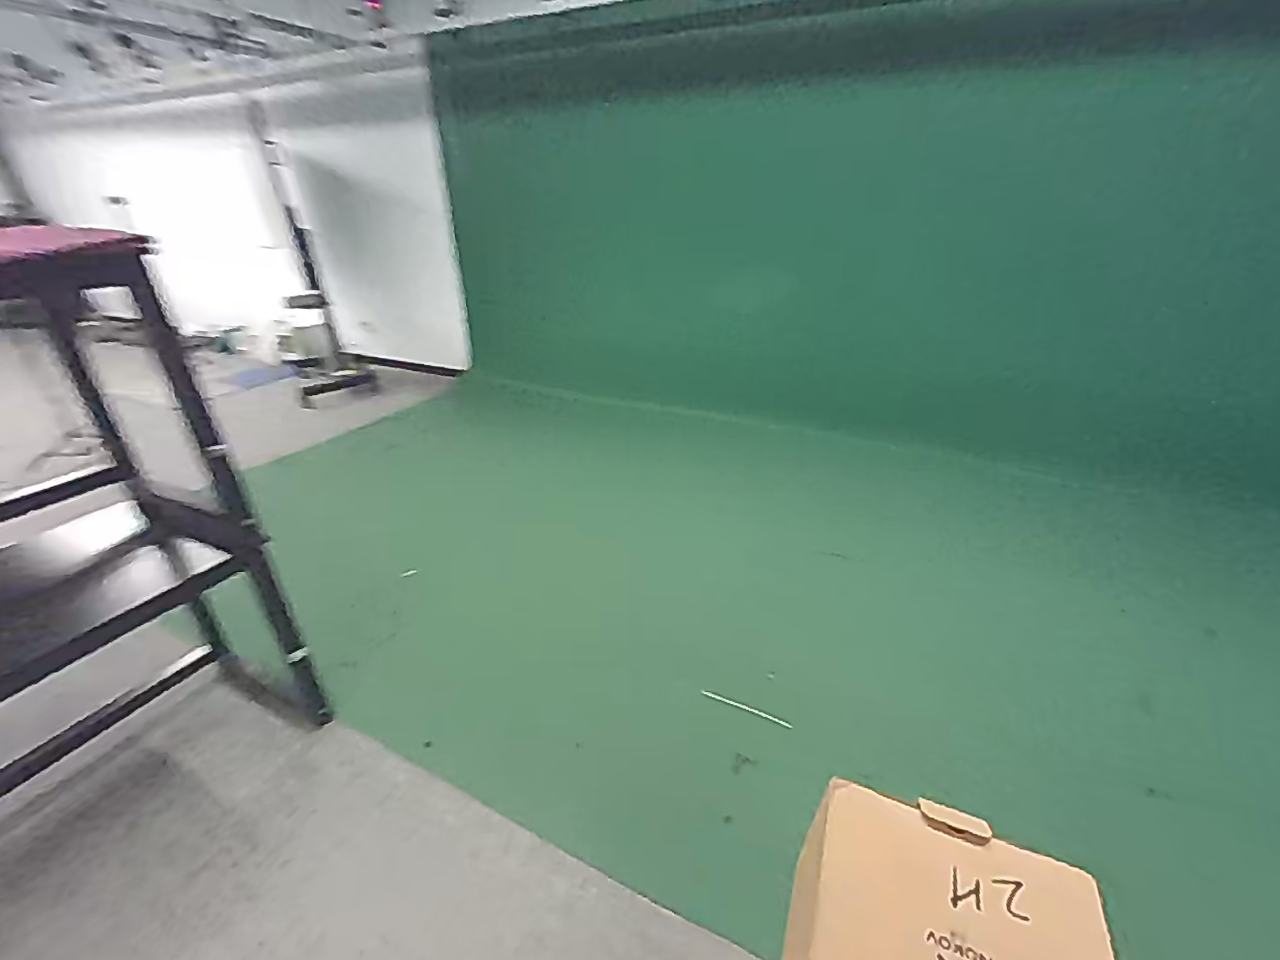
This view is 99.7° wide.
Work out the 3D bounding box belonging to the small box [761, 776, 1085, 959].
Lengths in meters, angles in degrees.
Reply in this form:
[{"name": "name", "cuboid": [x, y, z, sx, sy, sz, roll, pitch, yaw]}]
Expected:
[{"name": "small box", "cuboid": [0.173, 0.350, 0.365, 0.168, 0.176, 0.179, 13, 39, 17]}]
